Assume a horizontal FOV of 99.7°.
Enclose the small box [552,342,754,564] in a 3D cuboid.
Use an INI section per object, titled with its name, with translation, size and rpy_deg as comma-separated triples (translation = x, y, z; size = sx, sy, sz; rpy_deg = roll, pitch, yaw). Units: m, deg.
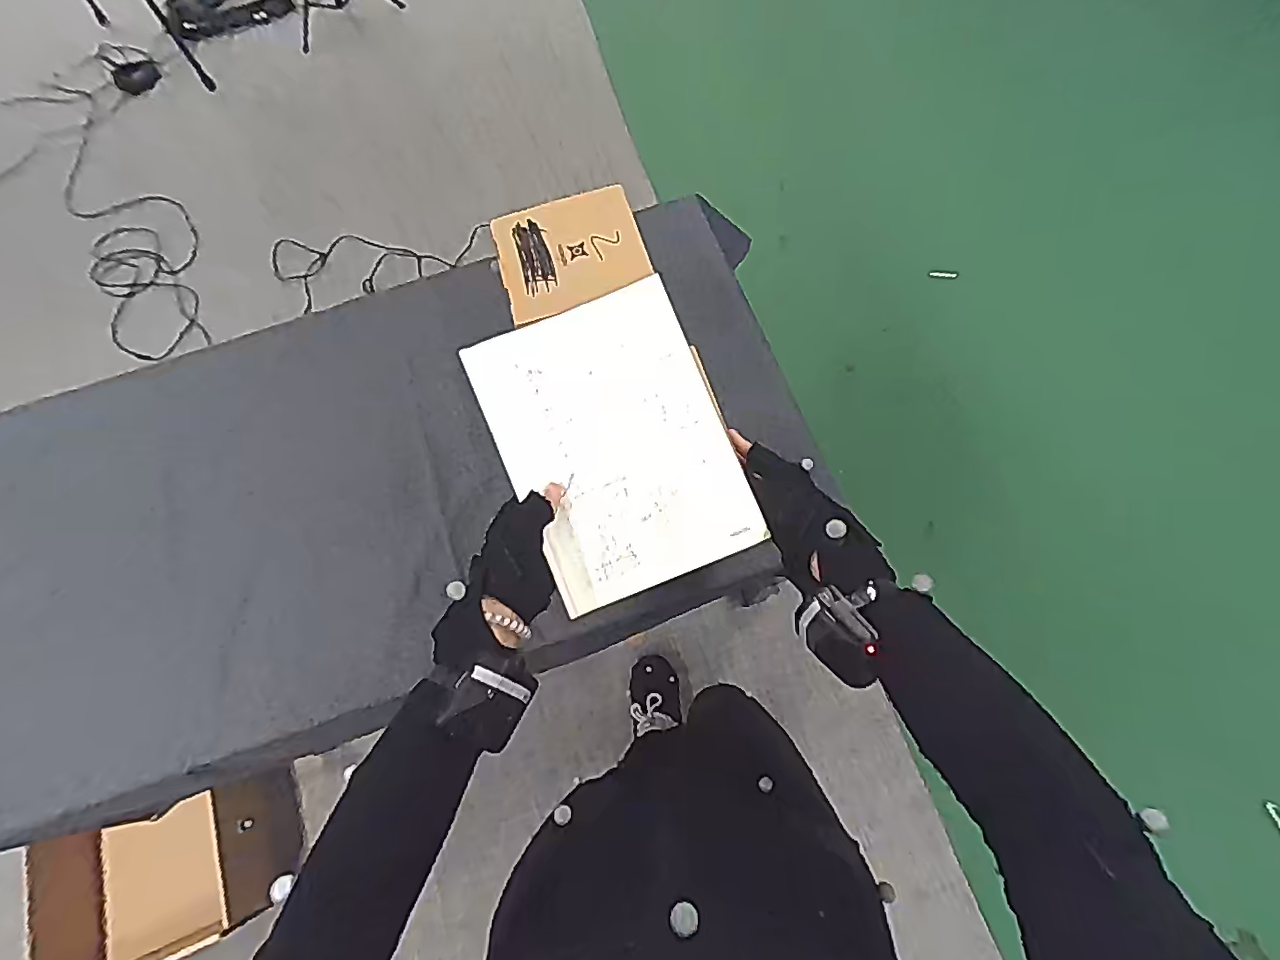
[small box]
translation = 0.011, -0.021, 0.613
size = 0.168, 0.176, 0.179
rpy_deg = -17, 71, -3
